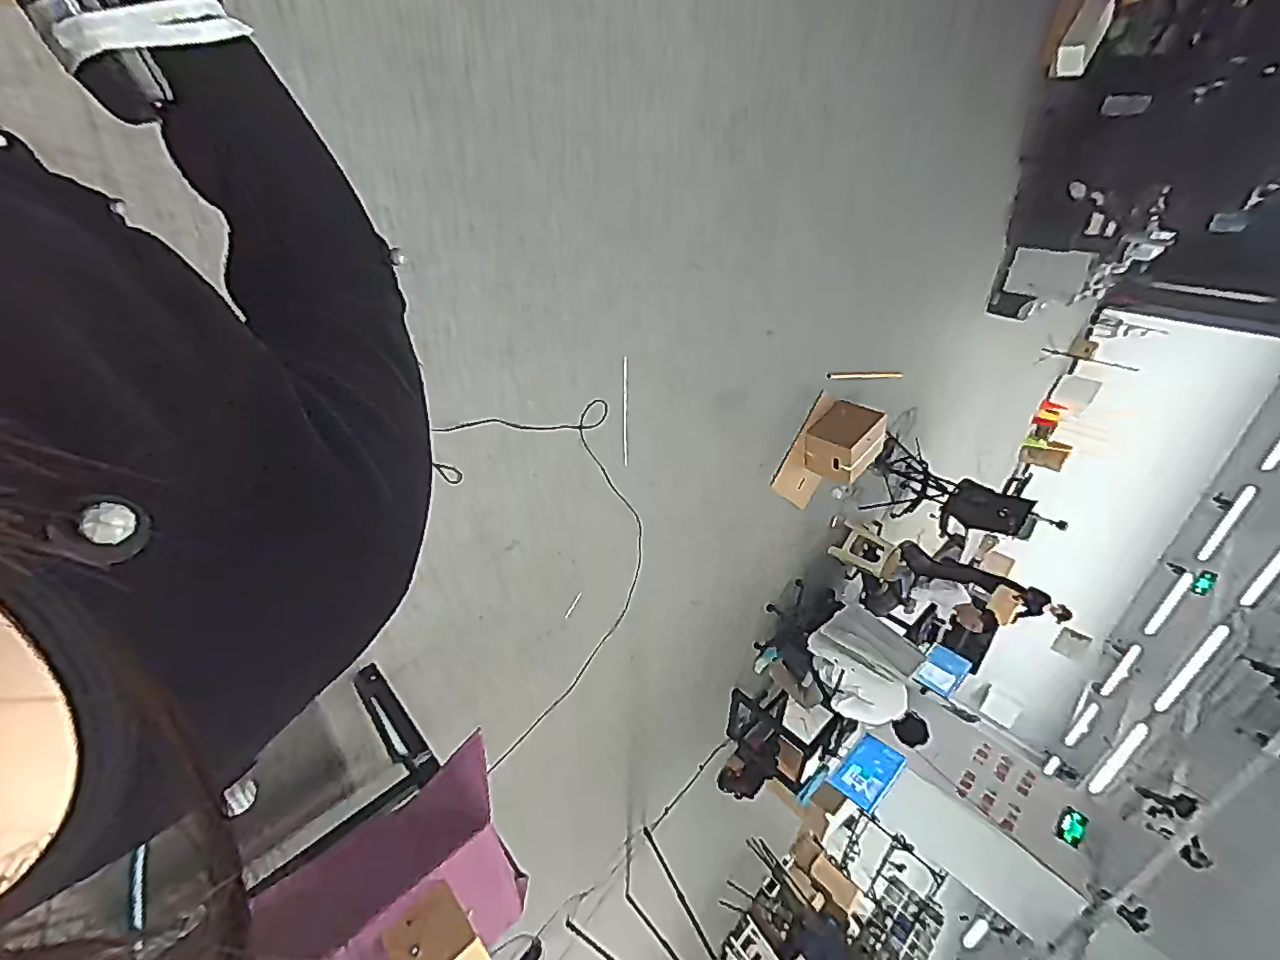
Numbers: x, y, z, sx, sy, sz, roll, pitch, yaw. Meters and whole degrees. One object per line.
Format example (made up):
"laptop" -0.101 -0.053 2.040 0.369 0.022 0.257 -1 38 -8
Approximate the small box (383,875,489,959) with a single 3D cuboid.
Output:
"small box" -0.496 1.115 1.314 0.168 0.176 0.179 -29 134 -33
